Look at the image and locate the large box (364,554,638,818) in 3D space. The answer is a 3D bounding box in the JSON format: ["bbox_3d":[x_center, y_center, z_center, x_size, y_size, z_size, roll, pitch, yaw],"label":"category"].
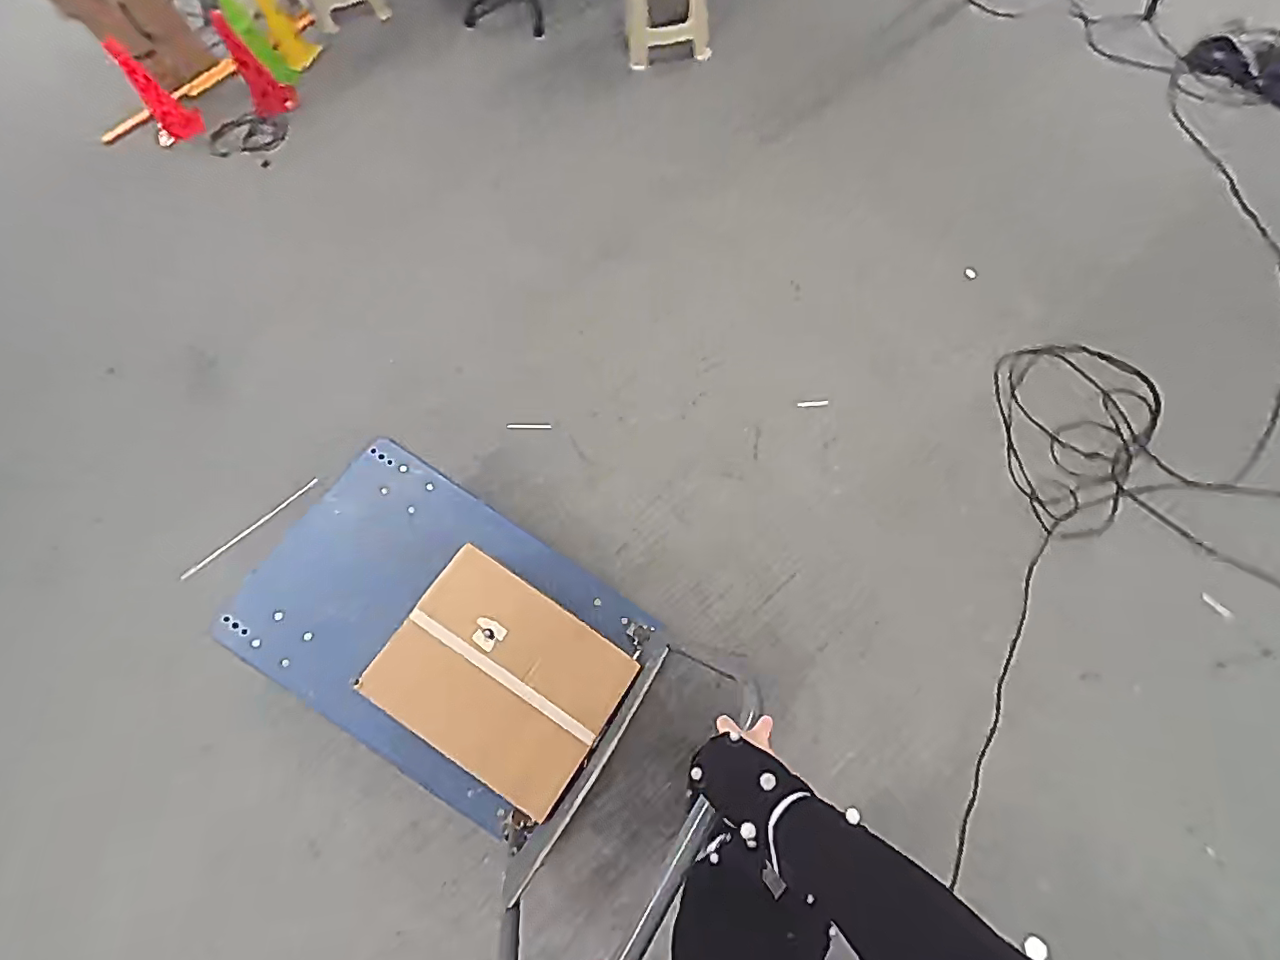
[{"bbox_3d":[-0.262,0.405,1.136,0.408,0.320,0.320,34,74,2],"label":"large box"}]
